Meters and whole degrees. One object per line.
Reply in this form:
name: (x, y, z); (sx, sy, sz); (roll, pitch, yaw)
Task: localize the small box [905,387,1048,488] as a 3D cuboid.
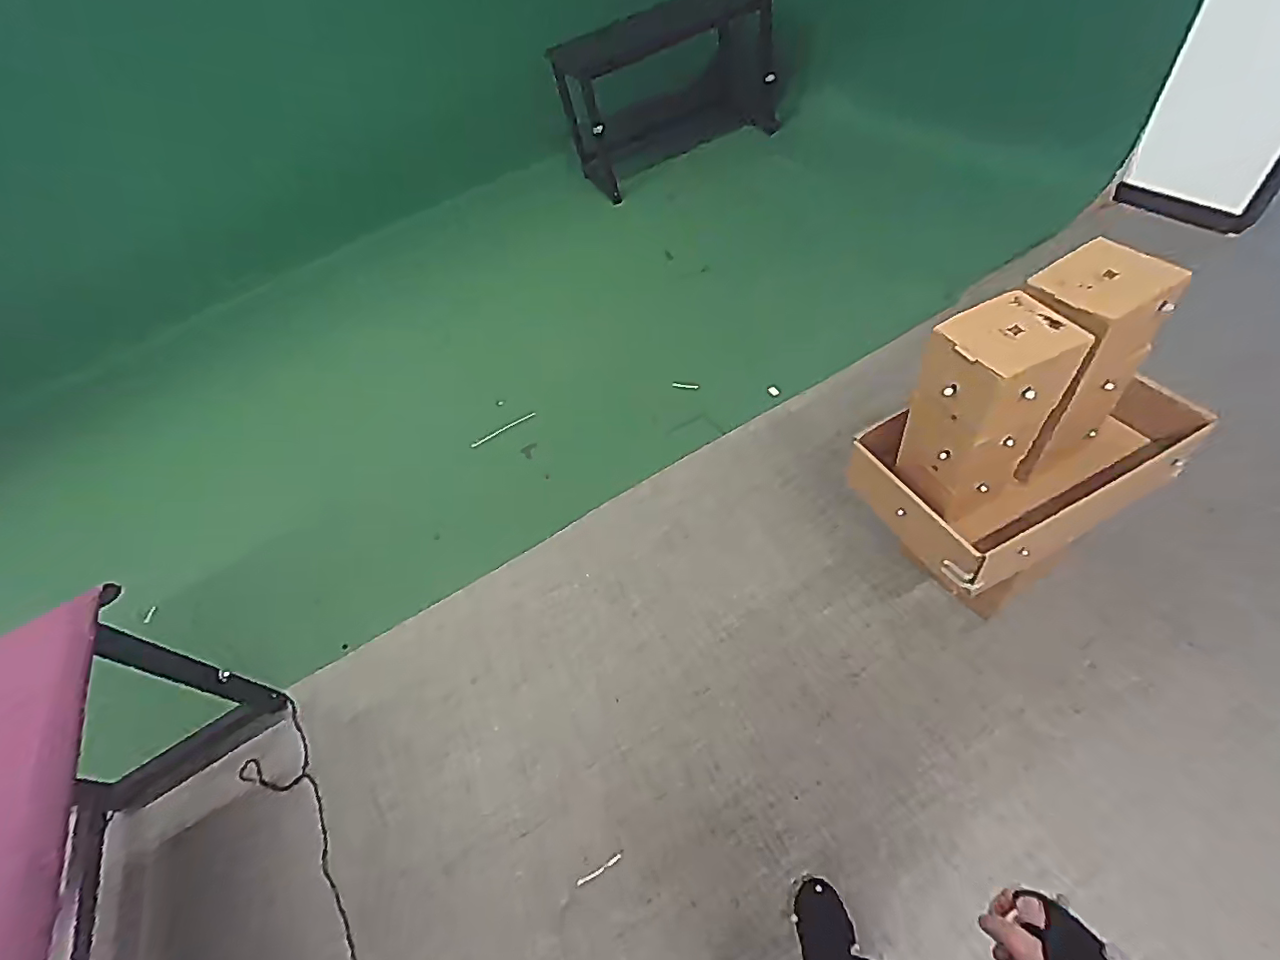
small box: (0.675, -0.112, 1.115); (0.179, 0.176, 0.168); (-25, 53, -4)

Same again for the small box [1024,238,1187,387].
small box: (0.834, -0.310, 1.014); (0.179, 0.176, 0.168); (-30, 52, -4)

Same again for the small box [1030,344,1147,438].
small box: (0.888, -0.223, 1.145); (0.179, 0.176, 0.168); (-29, 53, -3)

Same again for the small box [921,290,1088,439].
small box: (0.642, -0.205, 0.984); (0.179, 0.176, 0.168); (-24, 53, -3)

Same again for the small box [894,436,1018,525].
small box: (0.713, -0.026, 1.248); (0.179, 0.176, 0.168); (-26, 52, -6)
